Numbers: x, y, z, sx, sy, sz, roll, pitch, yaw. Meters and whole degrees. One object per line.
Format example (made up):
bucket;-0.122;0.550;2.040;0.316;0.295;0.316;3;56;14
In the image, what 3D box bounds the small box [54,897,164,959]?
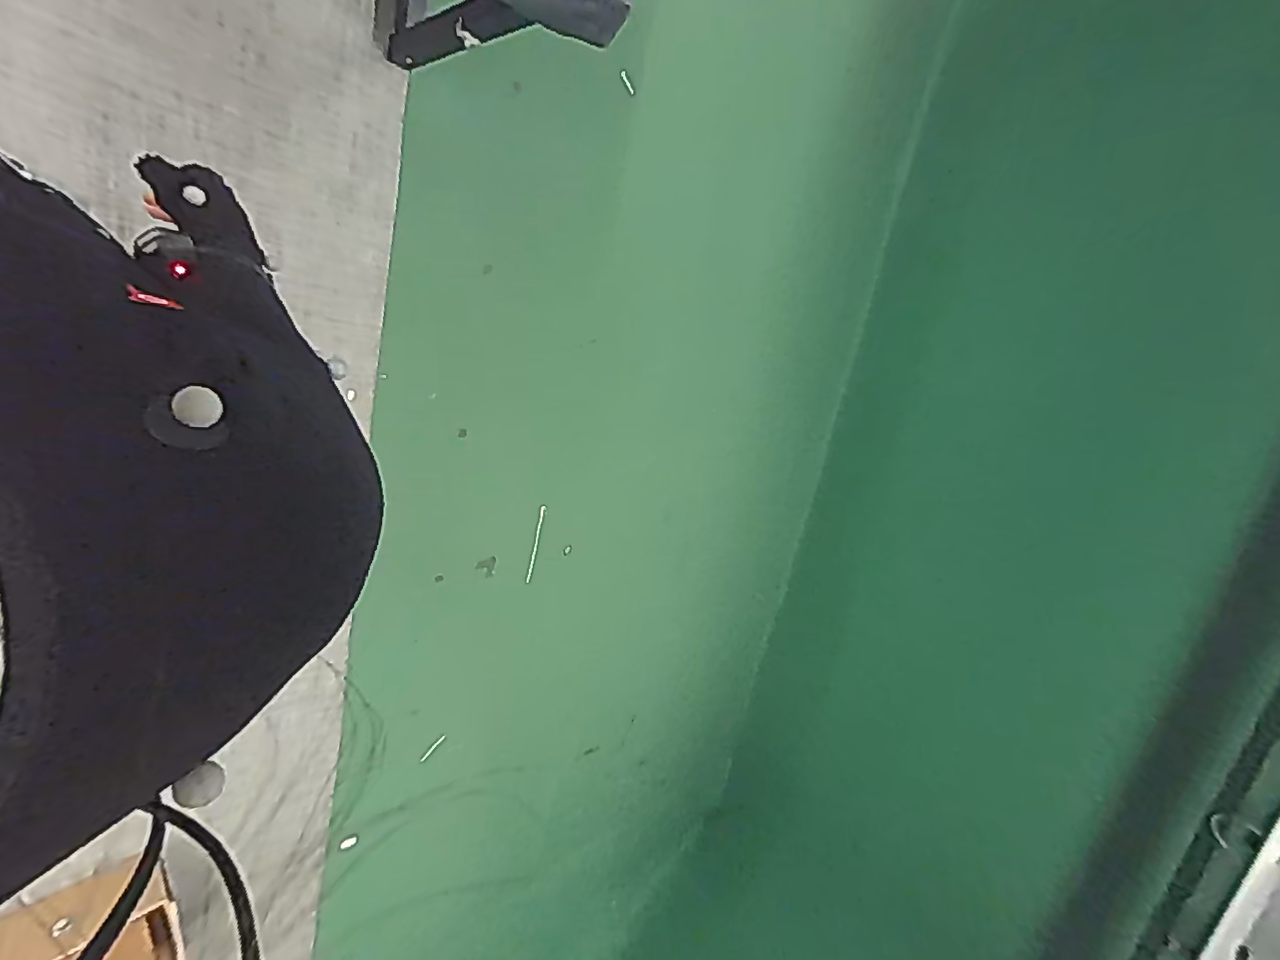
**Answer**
small box;-1.272;1.175;1.299;0.179;0.176;0.168;-14;119;-44
